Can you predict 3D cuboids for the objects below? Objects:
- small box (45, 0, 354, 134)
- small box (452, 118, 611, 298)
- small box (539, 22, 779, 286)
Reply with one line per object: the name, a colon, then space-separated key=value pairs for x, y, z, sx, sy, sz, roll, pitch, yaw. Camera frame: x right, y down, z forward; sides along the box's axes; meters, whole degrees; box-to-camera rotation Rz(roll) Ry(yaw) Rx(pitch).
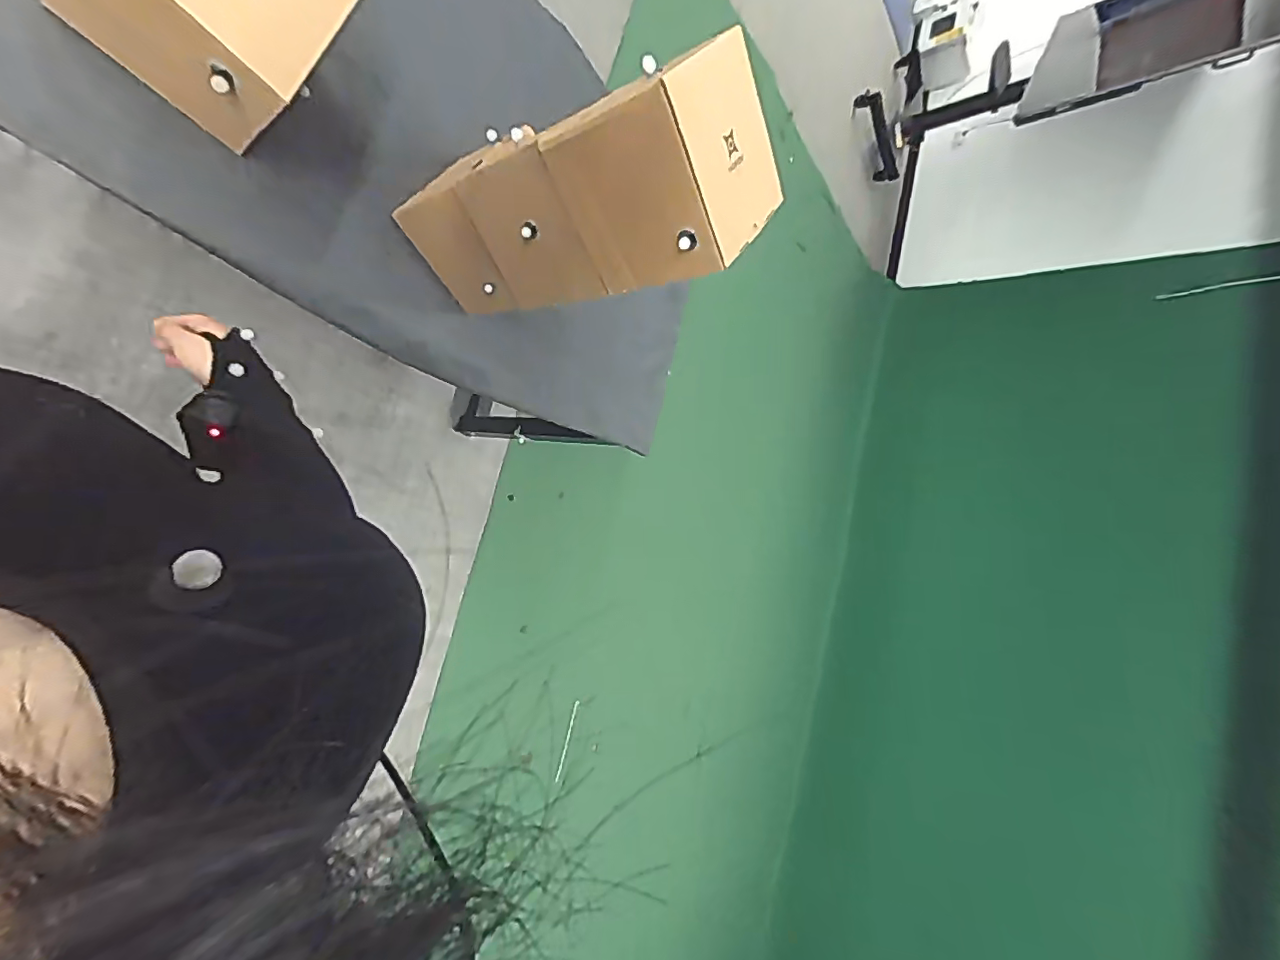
small box: x=-0.432 y=-0.484 z=0.536 sx=0.179 sy=0.176 sz=0.168 roll=36 pitch=67 yaw=-46
small box: x=-0.098 y=-0.349 z=0.691 sx=0.168 sy=0.176 sz=0.179 roll=-53 pitch=131 yaw=-32
small box: x=0.024 y=-0.336 z=0.584 sx=0.168 sy=0.176 sz=0.179 roll=-55 pitch=133 yaw=-31
